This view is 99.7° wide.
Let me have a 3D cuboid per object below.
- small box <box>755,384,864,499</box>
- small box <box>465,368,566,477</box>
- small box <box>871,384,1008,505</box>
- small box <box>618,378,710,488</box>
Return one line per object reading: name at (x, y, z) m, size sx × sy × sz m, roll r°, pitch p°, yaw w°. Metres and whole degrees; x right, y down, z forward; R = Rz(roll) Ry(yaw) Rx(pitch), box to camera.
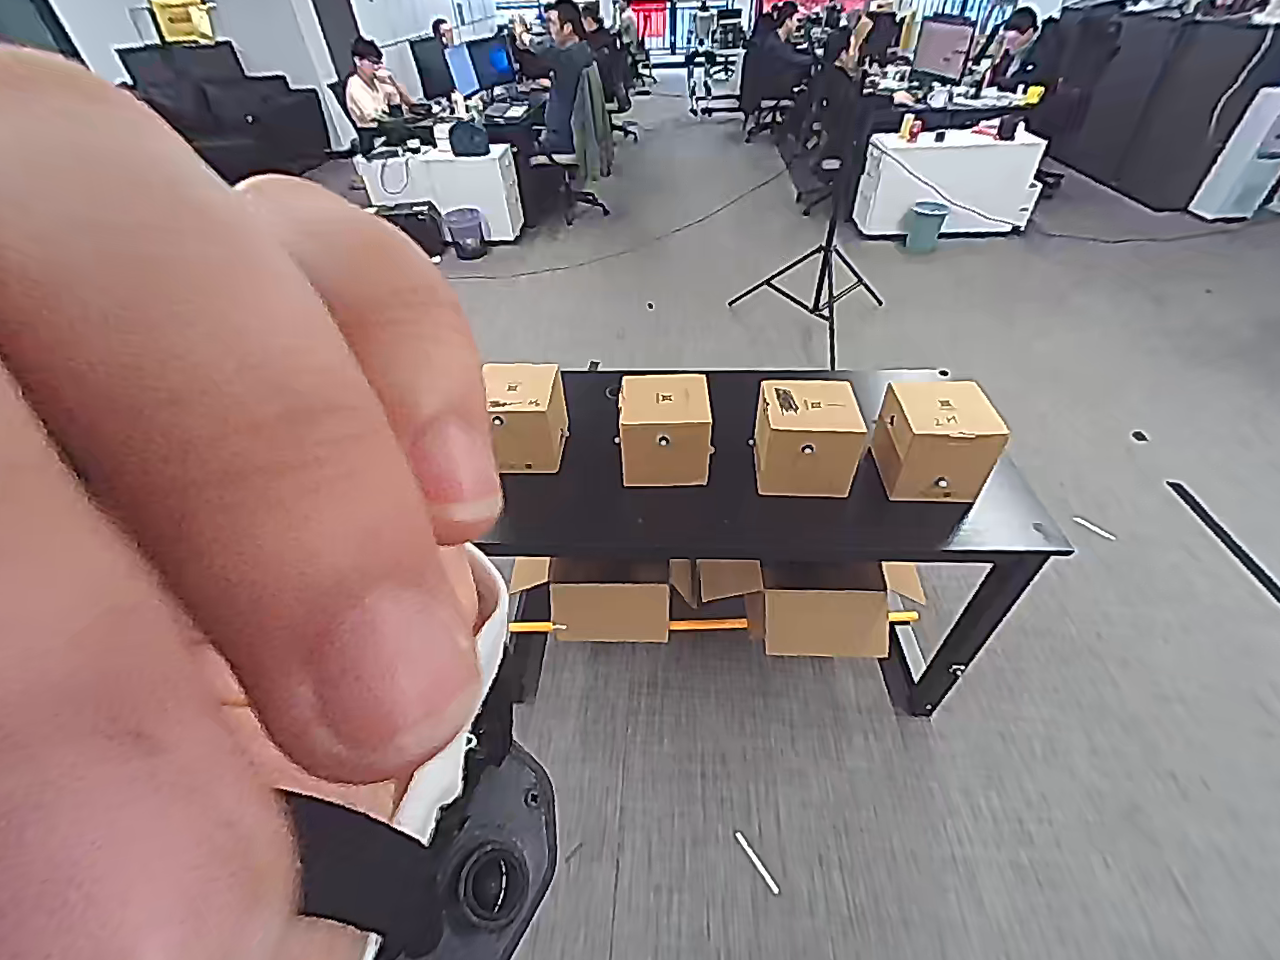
small box at (0.326, -0.077, 1.081) m, size 0.179 × 0.176 × 0.168 m, roll 2°, pitch 43°, yaw 5°
small box at (-0.257, -0.125, 1.167) m, size 0.168 × 0.176 × 0.179 m, roll 0°, pitch 43°, yaw 3°
small box at (0.570, -0.072, 1.062) m, size 0.168 × 0.176 × 0.179 m, roll 1°, pitch 43°, yaw 6°
small box at (0.049, -0.095, 1.120) m, size 0.179 × 0.176 × 0.168 m, roll -1°, pitch 44°, yaw 1°
